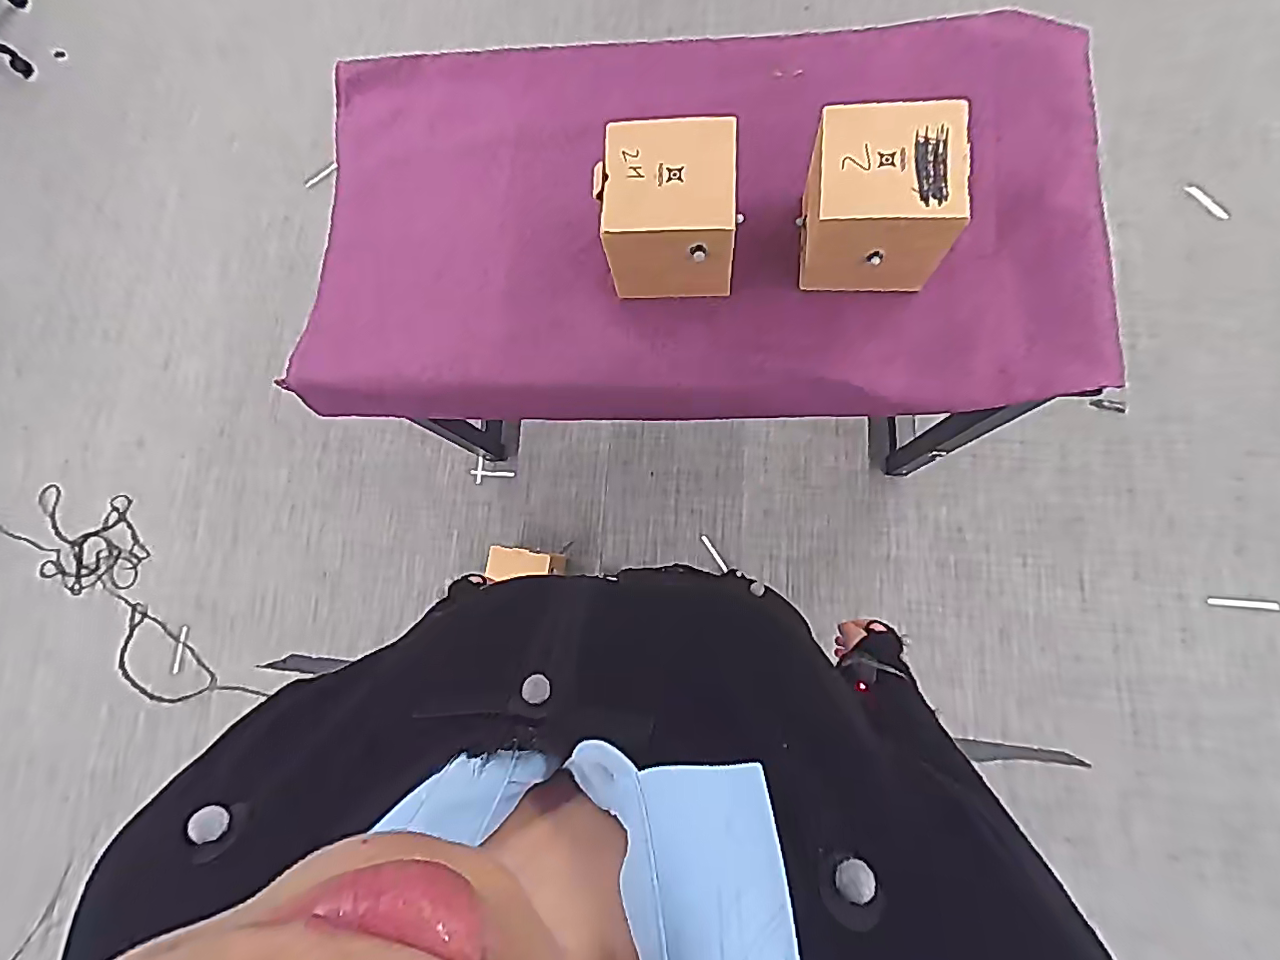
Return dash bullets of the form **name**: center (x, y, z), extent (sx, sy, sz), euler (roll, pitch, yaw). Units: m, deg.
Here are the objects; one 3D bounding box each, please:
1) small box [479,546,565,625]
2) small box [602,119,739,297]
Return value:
- **small box**: center (-0.310, 0.282, 1.456), extent (0.168, 0.176, 0.179), euler (9, 81, 8)
- **small box**: center (0.049, -0.380, 0.781), extent (0.179, 0.176, 0.168), euler (1, 79, 7)
